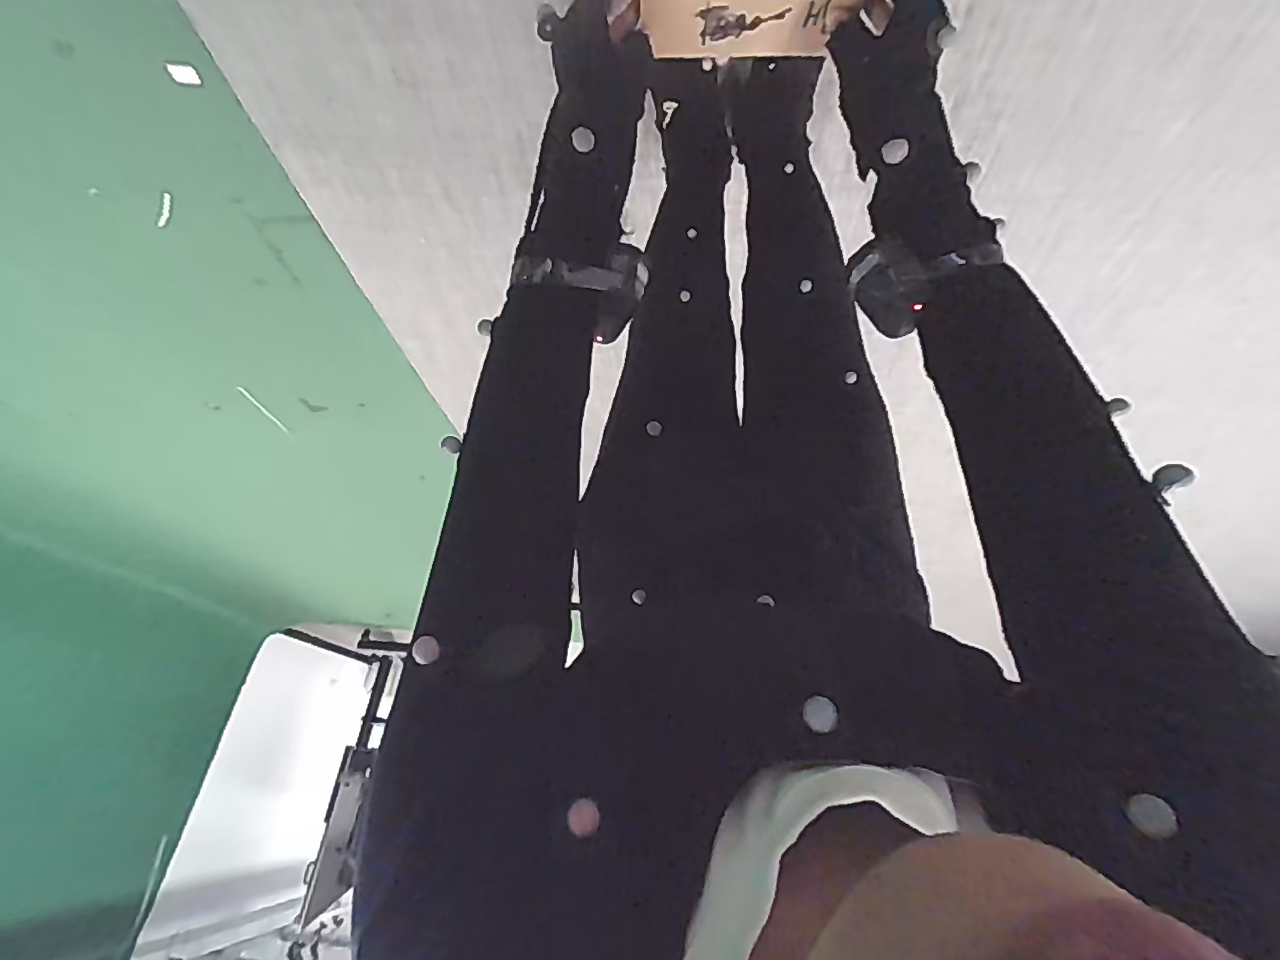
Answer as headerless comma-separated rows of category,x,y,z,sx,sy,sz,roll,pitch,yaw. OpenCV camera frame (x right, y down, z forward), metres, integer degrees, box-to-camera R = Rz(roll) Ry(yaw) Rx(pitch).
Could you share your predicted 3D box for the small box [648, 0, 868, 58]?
small box,0.093,-0.452,0.400,0.168,0.176,0.179,4,150,6
